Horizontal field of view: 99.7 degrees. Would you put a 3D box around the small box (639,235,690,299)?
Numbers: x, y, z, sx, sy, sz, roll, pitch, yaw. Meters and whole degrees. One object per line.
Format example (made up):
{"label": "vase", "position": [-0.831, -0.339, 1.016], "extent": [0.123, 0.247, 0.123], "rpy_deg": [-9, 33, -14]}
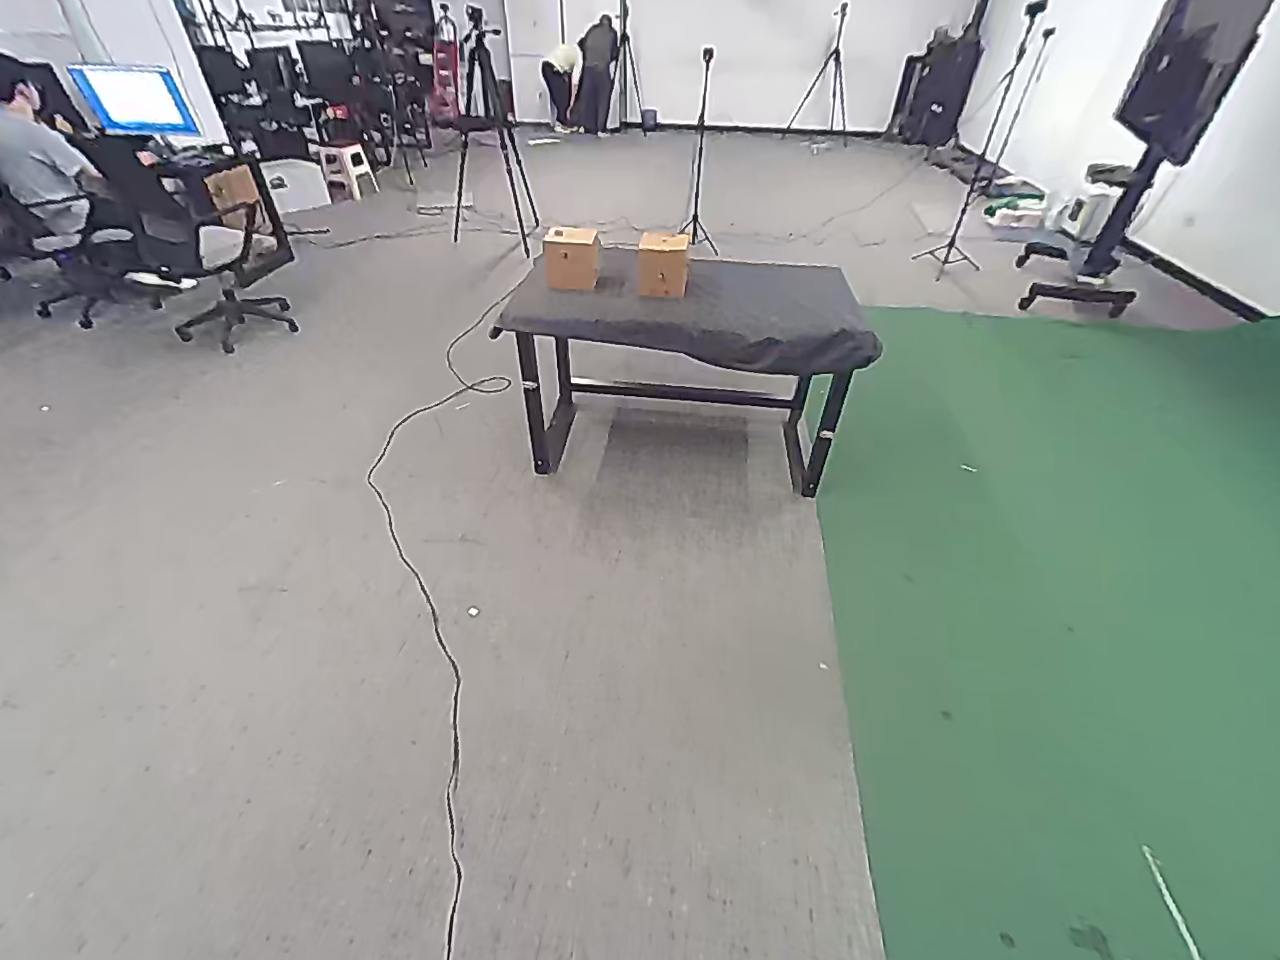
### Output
{"label": "small box", "position": [0.089, -0.761, 1.936], "extent": [0.168, 0.176, 0.179], "rpy_deg": [6, 41, 5]}

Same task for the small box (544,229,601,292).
{"label": "small box", "position": [-0.239, -0.797, 1.966], "extent": [0.179, 0.176, 0.168], "rpy_deg": [5, 41, 2]}
